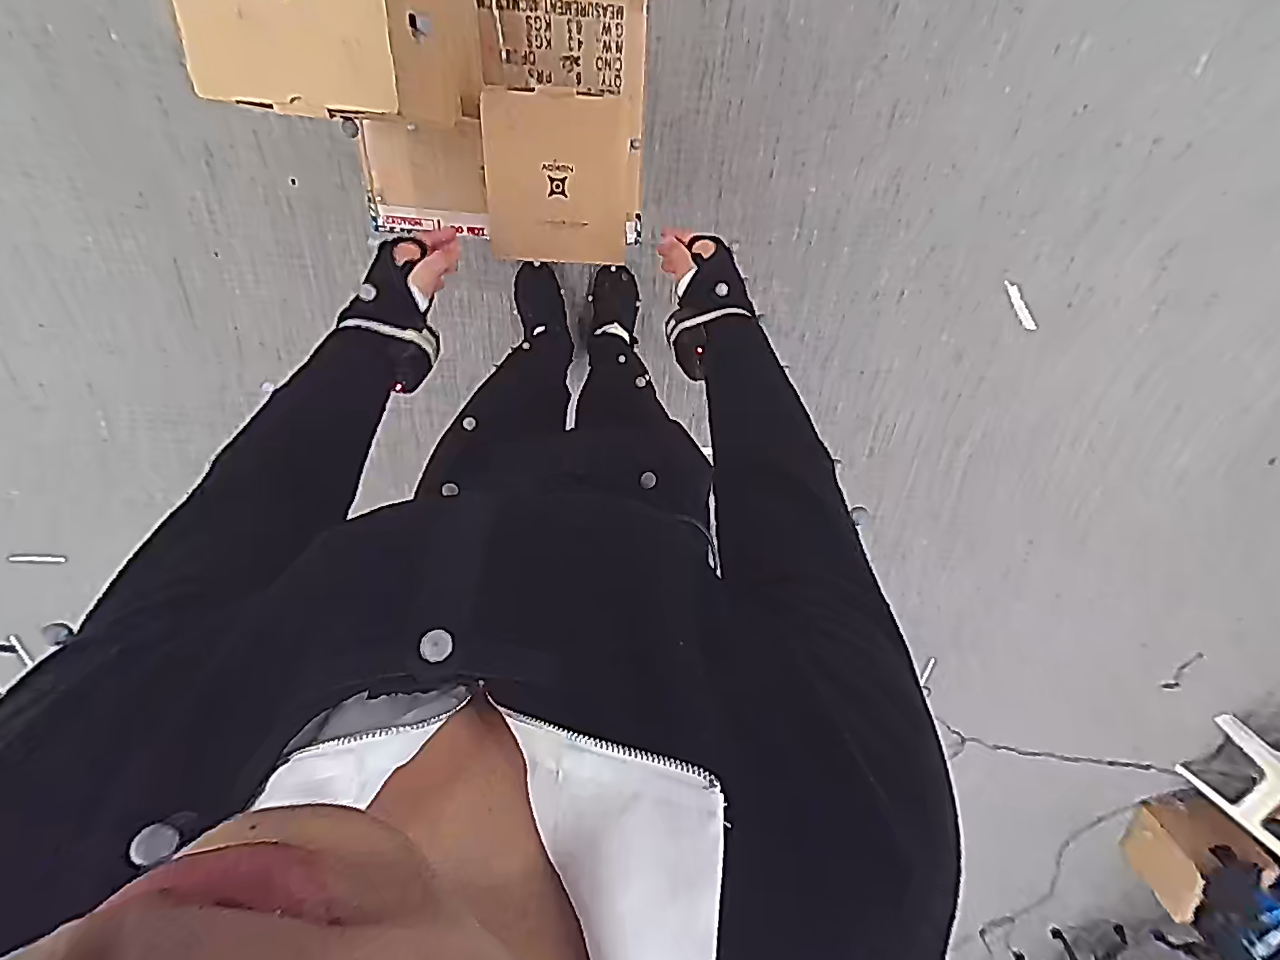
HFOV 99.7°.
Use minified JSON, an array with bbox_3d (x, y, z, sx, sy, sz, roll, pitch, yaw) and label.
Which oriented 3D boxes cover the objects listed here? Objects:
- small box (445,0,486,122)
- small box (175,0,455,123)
[{"bbox_3d":[-0.279,-0.514,0.606,0.168,0.176,0.179,2,122,-1],"label":"small box"},{"bbox_3d":[-0.271,-0.421,0.471,0.168,0.176,0.179,3,122,-3],"label":"small box"}]
